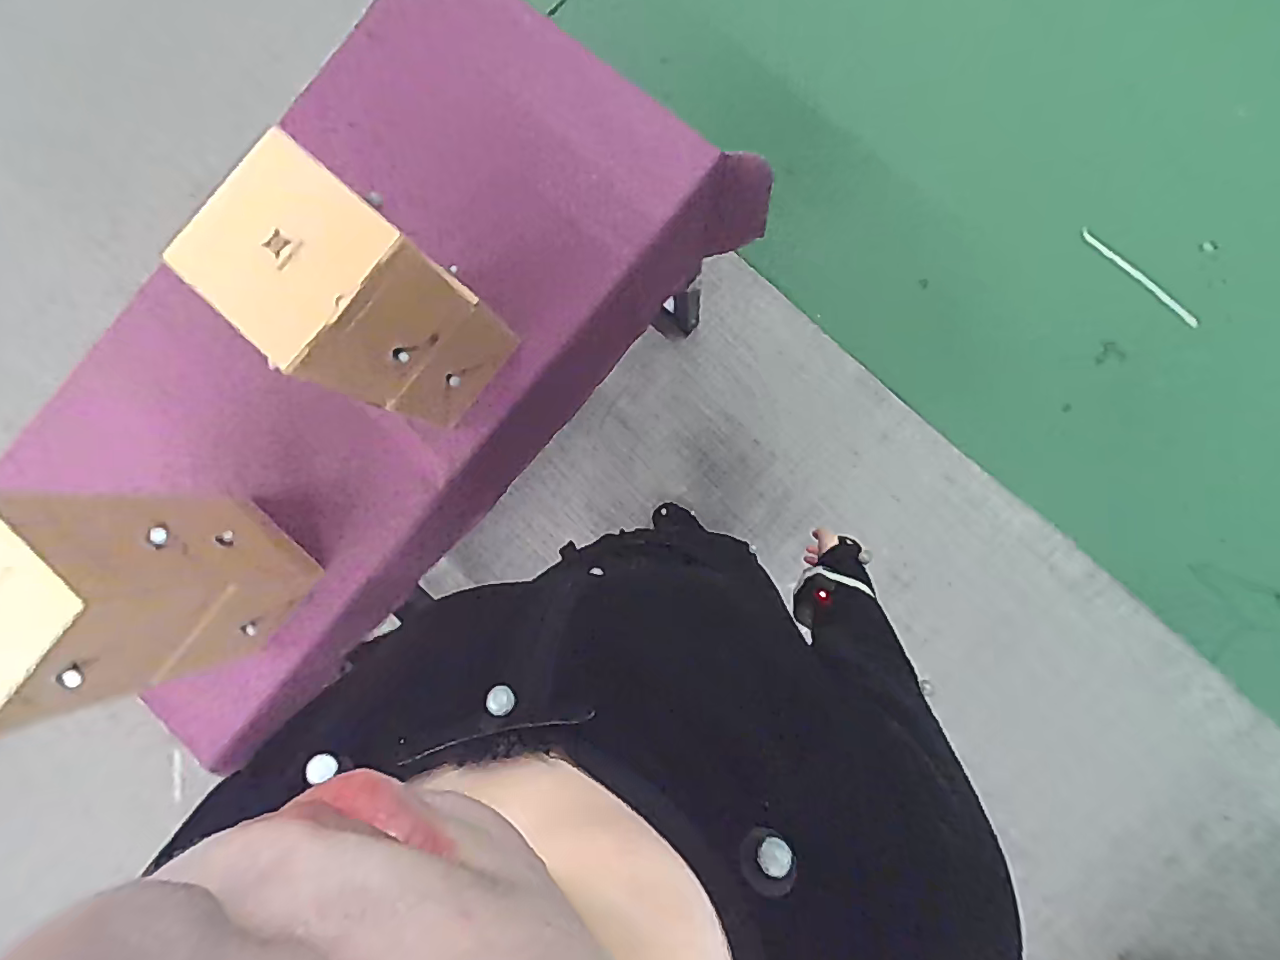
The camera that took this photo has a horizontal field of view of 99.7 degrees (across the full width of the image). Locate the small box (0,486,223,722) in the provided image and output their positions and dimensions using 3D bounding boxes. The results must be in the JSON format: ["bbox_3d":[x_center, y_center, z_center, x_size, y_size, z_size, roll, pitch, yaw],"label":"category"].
[{"bbox_3d":[-0.614,0.127,0.581,0.168,0.176,0.179,40,90,6],"label":"small box"}]

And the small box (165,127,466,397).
[{"bbox_3d":[-0.325,-0.212,0.578,0.179,0.176,0.168,41,90,6],"label":"small box"}]

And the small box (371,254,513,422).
[{"bbox_3d":[-0.303,-0.199,0.740,0.168,0.176,0.179,39,91,6],"label":"small box"}]

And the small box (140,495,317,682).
[{"bbox_3d":[-0.599,0.136,0.745,0.179,0.176,0.168,40,90,7],"label":"small box"}]
